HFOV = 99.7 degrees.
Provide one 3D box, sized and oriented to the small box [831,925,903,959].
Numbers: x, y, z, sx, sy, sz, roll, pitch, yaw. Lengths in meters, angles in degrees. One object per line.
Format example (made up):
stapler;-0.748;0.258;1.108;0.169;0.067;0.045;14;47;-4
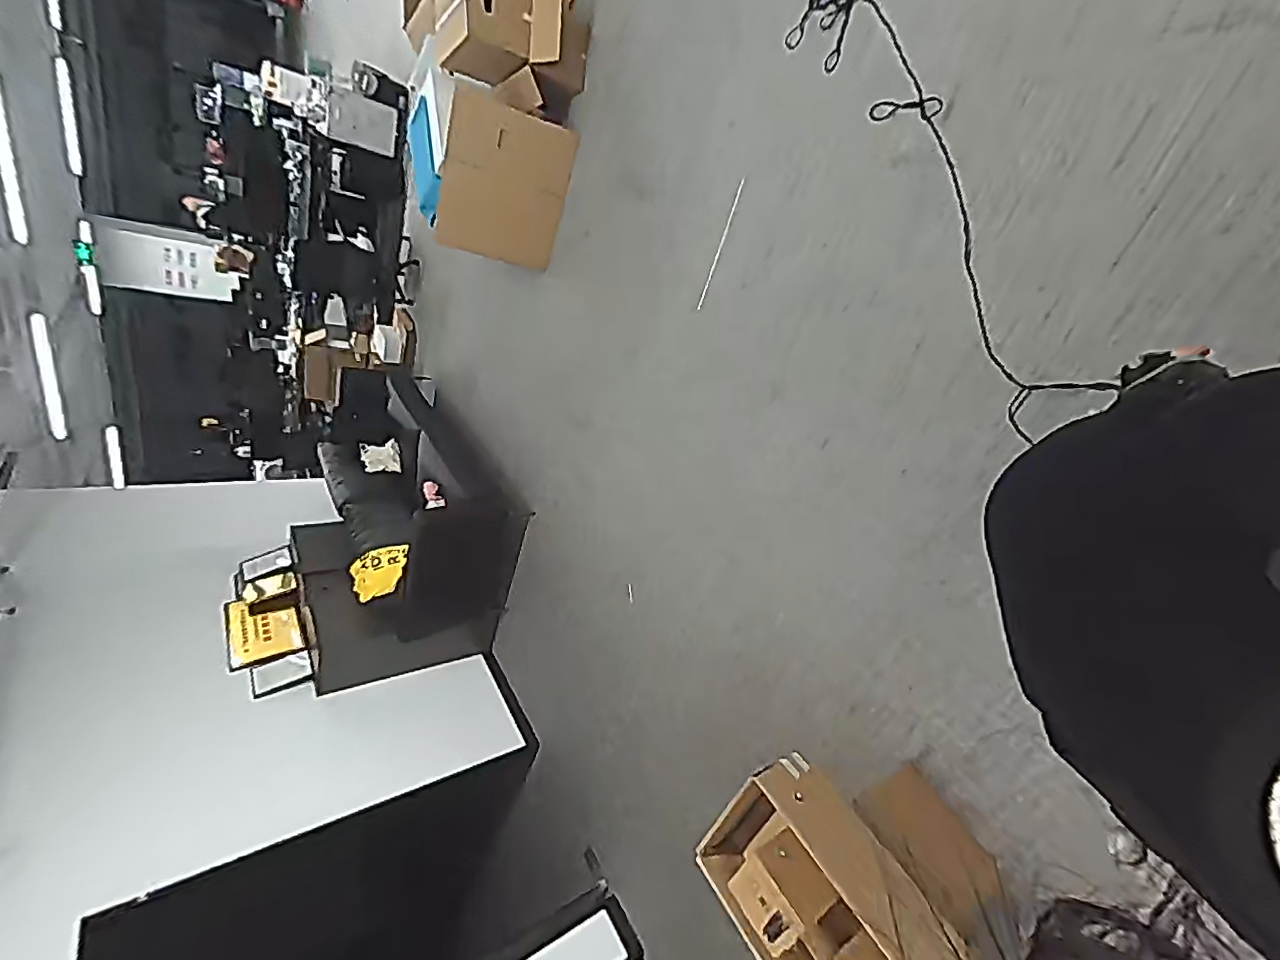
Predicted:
small box;0.488;1.112;1.157;0.168;0.176;0.179;47;127;39
